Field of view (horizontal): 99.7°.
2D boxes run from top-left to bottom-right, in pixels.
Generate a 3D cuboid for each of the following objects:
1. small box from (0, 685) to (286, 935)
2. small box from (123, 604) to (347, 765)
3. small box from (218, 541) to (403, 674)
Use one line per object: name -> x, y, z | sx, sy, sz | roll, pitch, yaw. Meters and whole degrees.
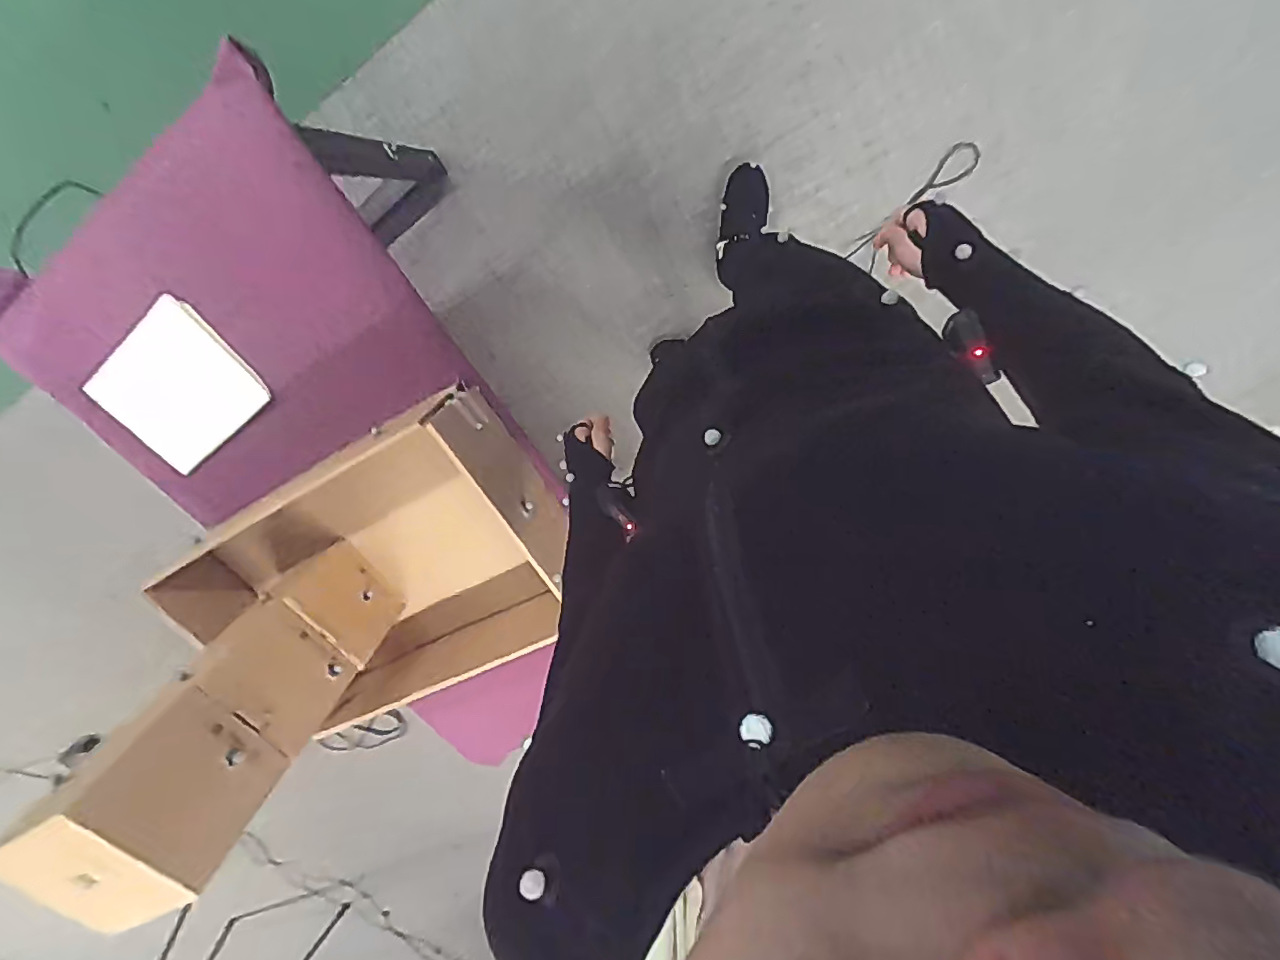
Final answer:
small box -> -0.576, 0.382, 0.640 | 0.179, 0.176, 0.168 | -30, 111, 15
small box -> -0.567, 0.313, 0.788 | 0.179, 0.176, 0.168 | -29, 110, 17
small box -> -0.552, 0.238, 0.933 | 0.179, 0.176, 0.168 | -29, 110, 15
